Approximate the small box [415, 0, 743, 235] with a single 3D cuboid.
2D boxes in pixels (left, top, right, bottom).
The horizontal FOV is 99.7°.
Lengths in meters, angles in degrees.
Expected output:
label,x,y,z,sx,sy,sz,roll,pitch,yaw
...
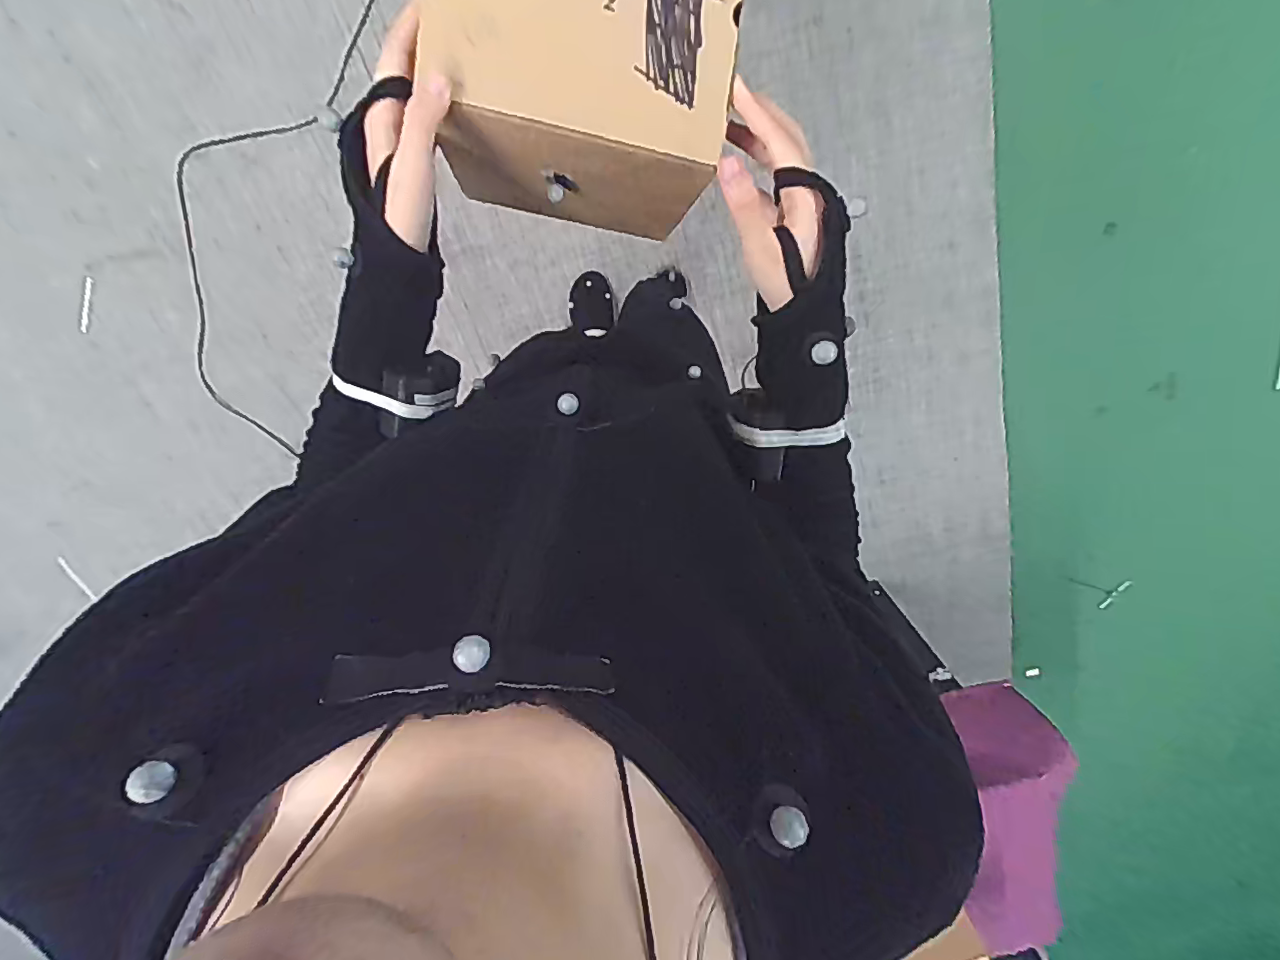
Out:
label,x,y,z,sx,sy,sz,roll,pitch,yaw
small box,-0.039,-0.289,0.379,0.179,0.176,0.168,8,98,-9
